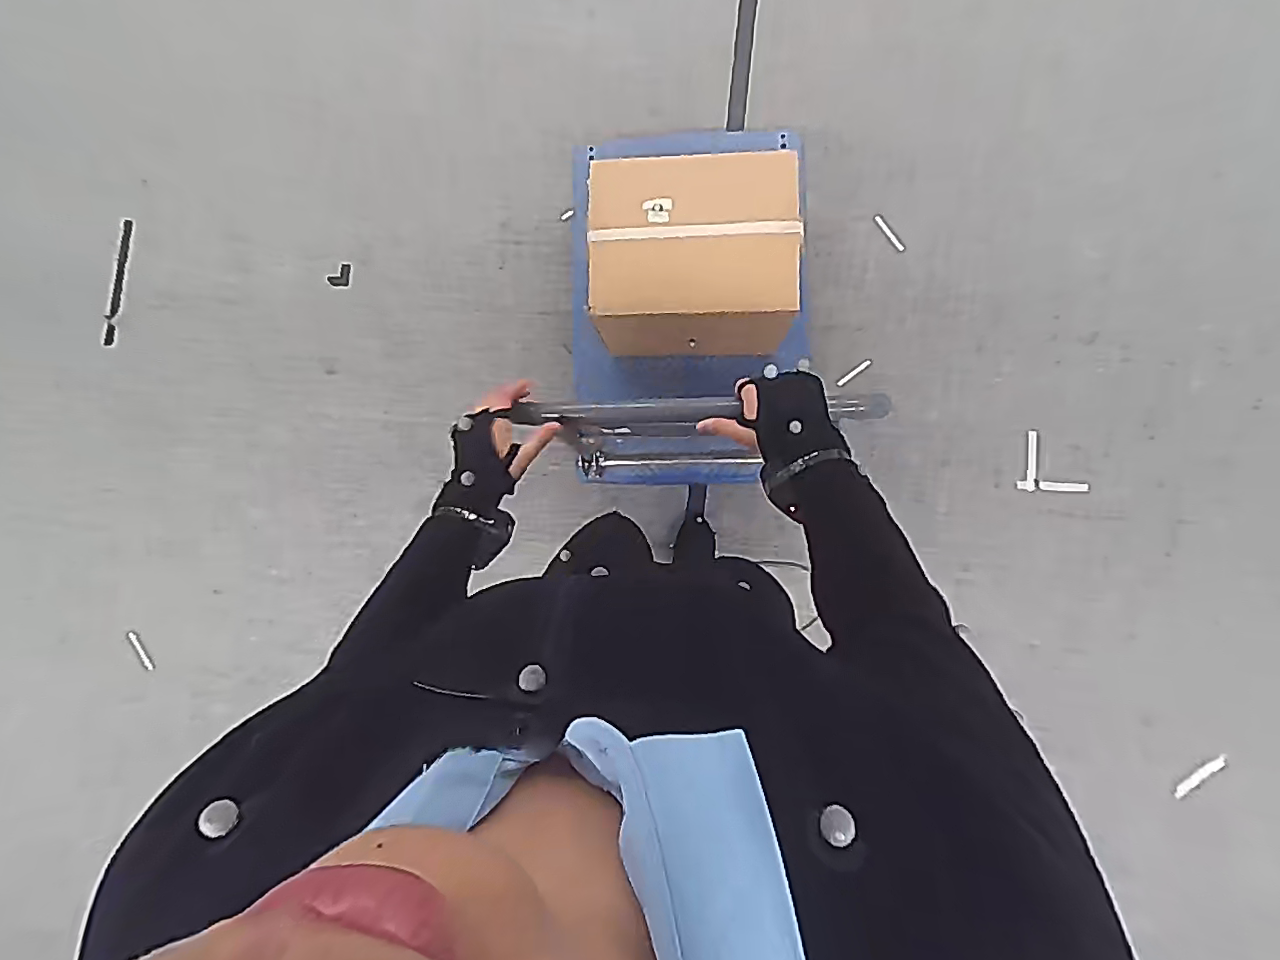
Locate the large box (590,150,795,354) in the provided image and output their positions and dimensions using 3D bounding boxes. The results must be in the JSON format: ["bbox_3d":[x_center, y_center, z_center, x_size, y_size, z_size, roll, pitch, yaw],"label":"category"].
[{"bbox_3d":[0.116,-0.478,1.210,0.408,0.320,0.320,0,87,6],"label":"large box"}]
